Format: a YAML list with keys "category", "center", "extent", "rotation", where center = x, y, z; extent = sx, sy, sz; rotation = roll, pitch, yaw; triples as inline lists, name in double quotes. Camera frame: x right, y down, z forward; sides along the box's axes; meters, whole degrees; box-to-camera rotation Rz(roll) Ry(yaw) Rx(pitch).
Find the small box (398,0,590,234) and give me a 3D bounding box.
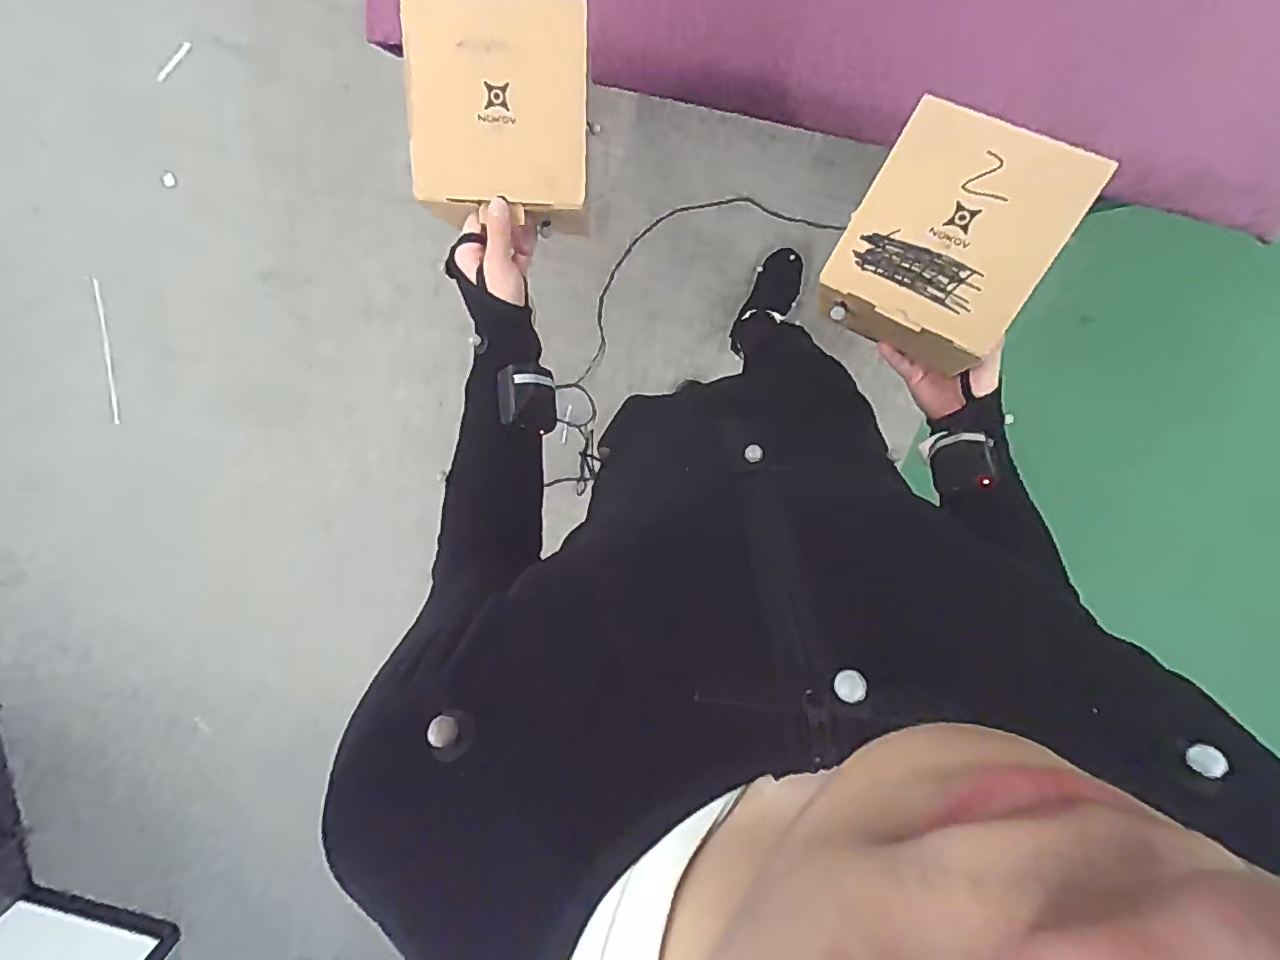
- category: "small box"
  center: [-0.139, -0.371, 0.574]
  extent: [0.168, 0.176, 0.179]
  rotation: [1, 104, -4]
